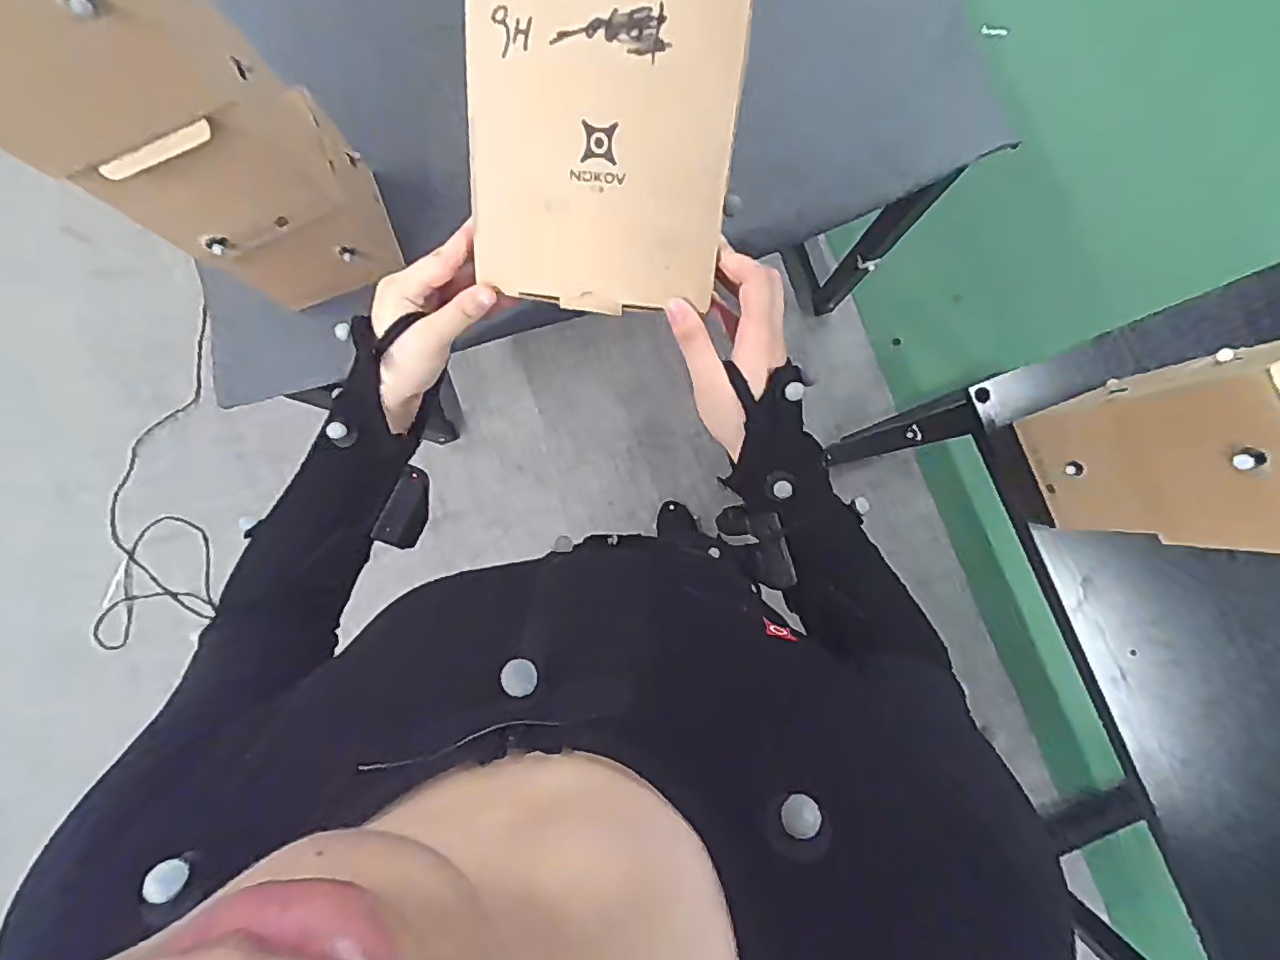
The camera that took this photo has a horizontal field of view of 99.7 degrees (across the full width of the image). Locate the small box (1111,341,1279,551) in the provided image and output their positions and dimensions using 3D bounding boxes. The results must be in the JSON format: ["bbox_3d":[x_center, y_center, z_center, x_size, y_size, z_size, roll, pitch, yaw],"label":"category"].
[{"bbox_3d":[0.627,-0.040,0.523,0.168,0.176,0.179,-21,87,0],"label":"small box"}]

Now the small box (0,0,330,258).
[{"bbox_3d":[-0.462,-0.359,0.555,0.168,0.176,0.179,-26,84,-2],"label":"small box"}]

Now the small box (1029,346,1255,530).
[{"bbox_3d":[0.642,-0.043,0.686,0.179,0.176,0.168,-21,88,-1],"label":"small box"}]

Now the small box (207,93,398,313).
[{"bbox_3d":[-0.451,-0.352,0.720,0.179,0.176,0.168,-22,85,0],"label":"small box"}]
